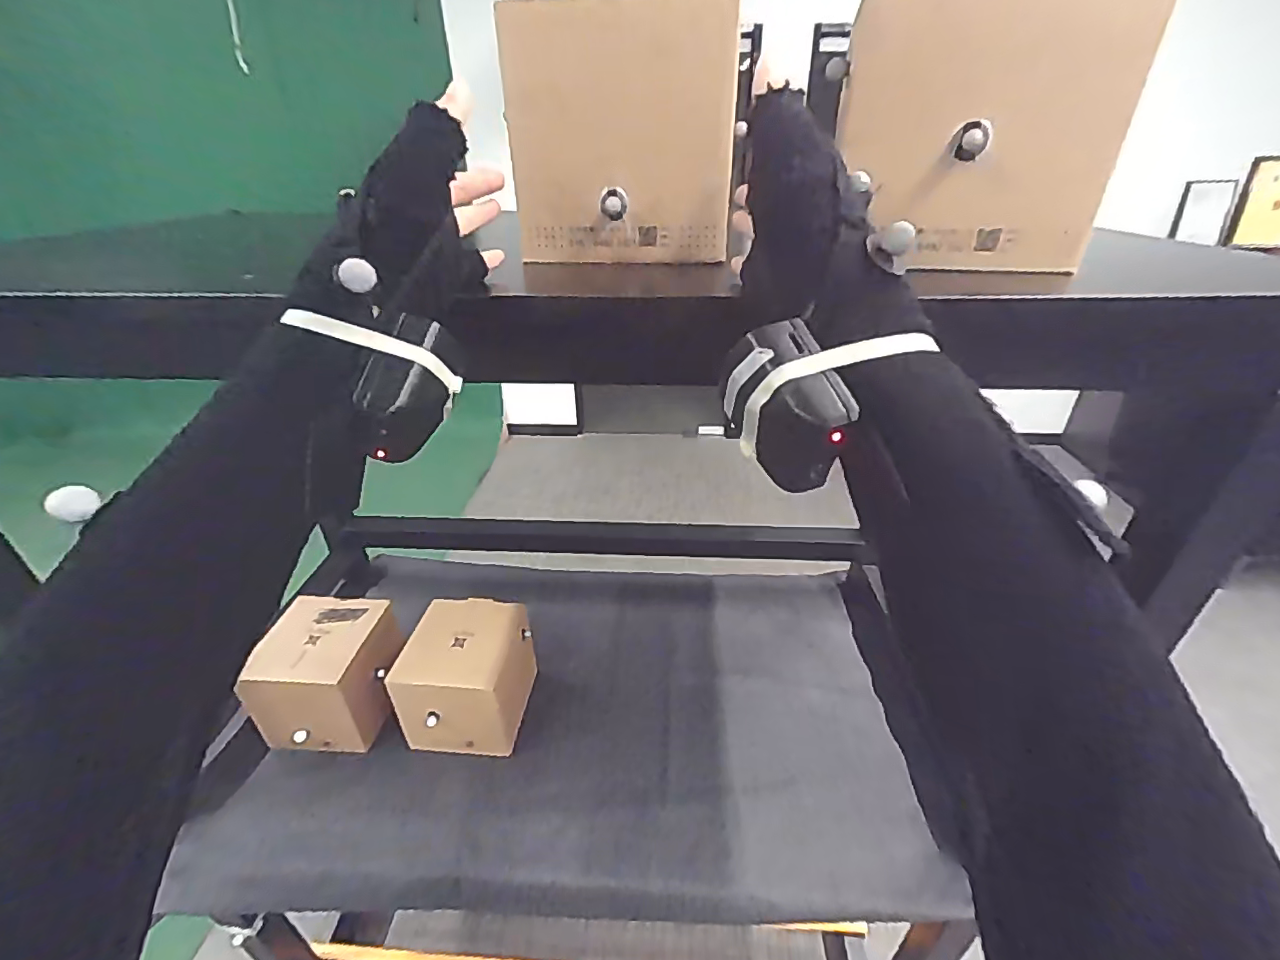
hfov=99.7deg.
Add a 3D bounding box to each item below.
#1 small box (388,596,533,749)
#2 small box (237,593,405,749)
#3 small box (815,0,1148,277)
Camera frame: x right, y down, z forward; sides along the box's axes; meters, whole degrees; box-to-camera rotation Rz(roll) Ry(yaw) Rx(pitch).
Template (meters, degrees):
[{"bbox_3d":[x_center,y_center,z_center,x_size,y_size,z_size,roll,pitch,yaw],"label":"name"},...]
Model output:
[{"bbox_3d":[-0.281,0.317,0.895,0.168,0.176,0.179,2,30,4],"label":"small box"},{"bbox_3d":[-0.508,0.313,0.900,0.168,0.176,0.179,2,31,3],"label":"small box"},{"bbox_3d":[0.238,-0.263,0.429,0.168,0.176,0.179,8,31,13],"label":"small box"}]
